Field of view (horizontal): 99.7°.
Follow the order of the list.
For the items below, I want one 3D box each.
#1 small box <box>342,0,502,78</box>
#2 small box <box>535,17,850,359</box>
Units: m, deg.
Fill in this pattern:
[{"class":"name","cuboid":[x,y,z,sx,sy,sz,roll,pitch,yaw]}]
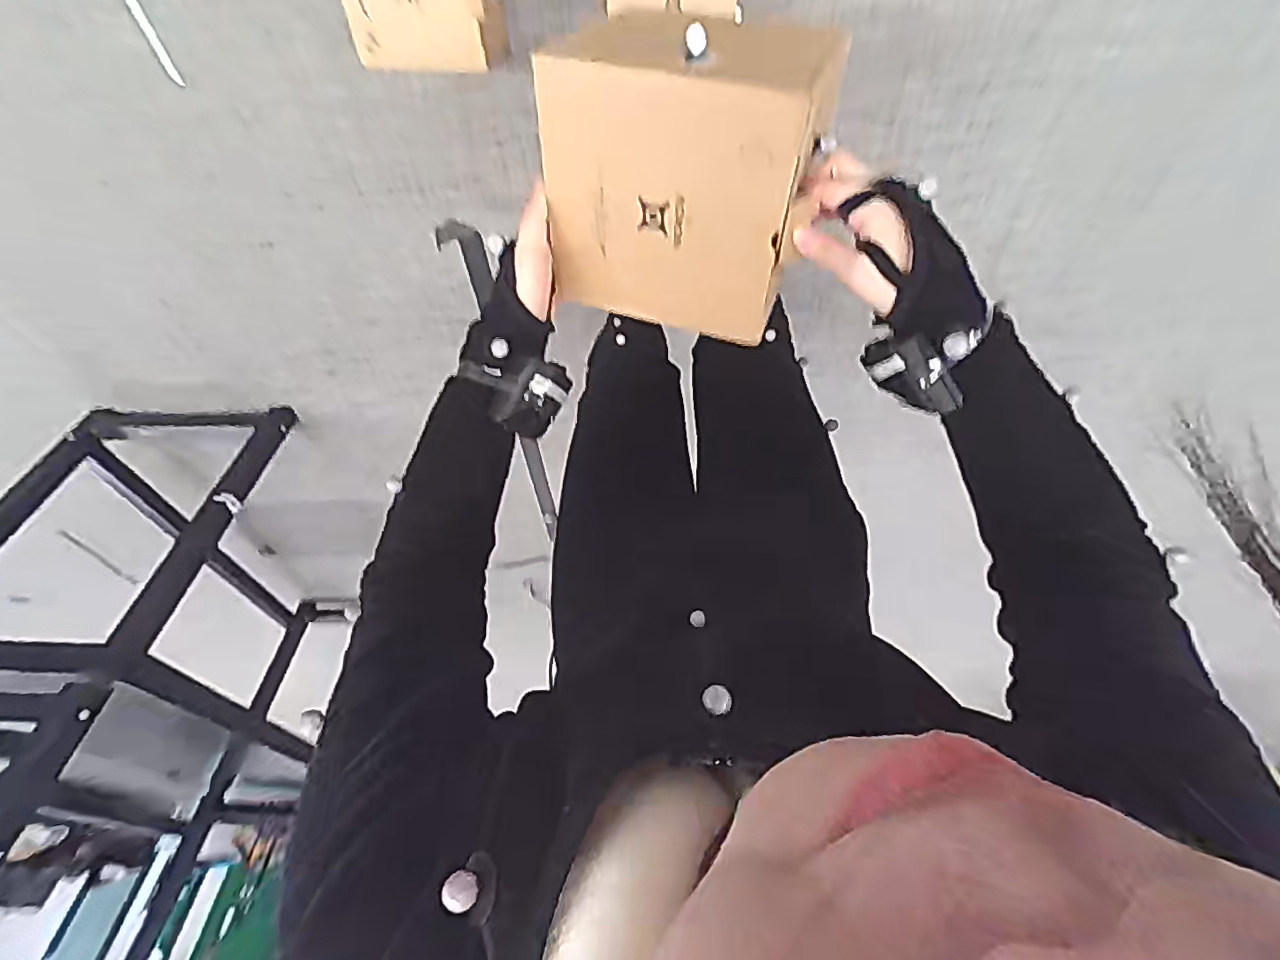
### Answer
[{"class":"small box","cuboid":[-0.290,-0.670,0.731,0.179,0.176,0.168,2,139,-2]},{"class":"small box","cuboid":[0.043,-0.225,0.411,0.179,0.176,0.168,19,141,12]}]
